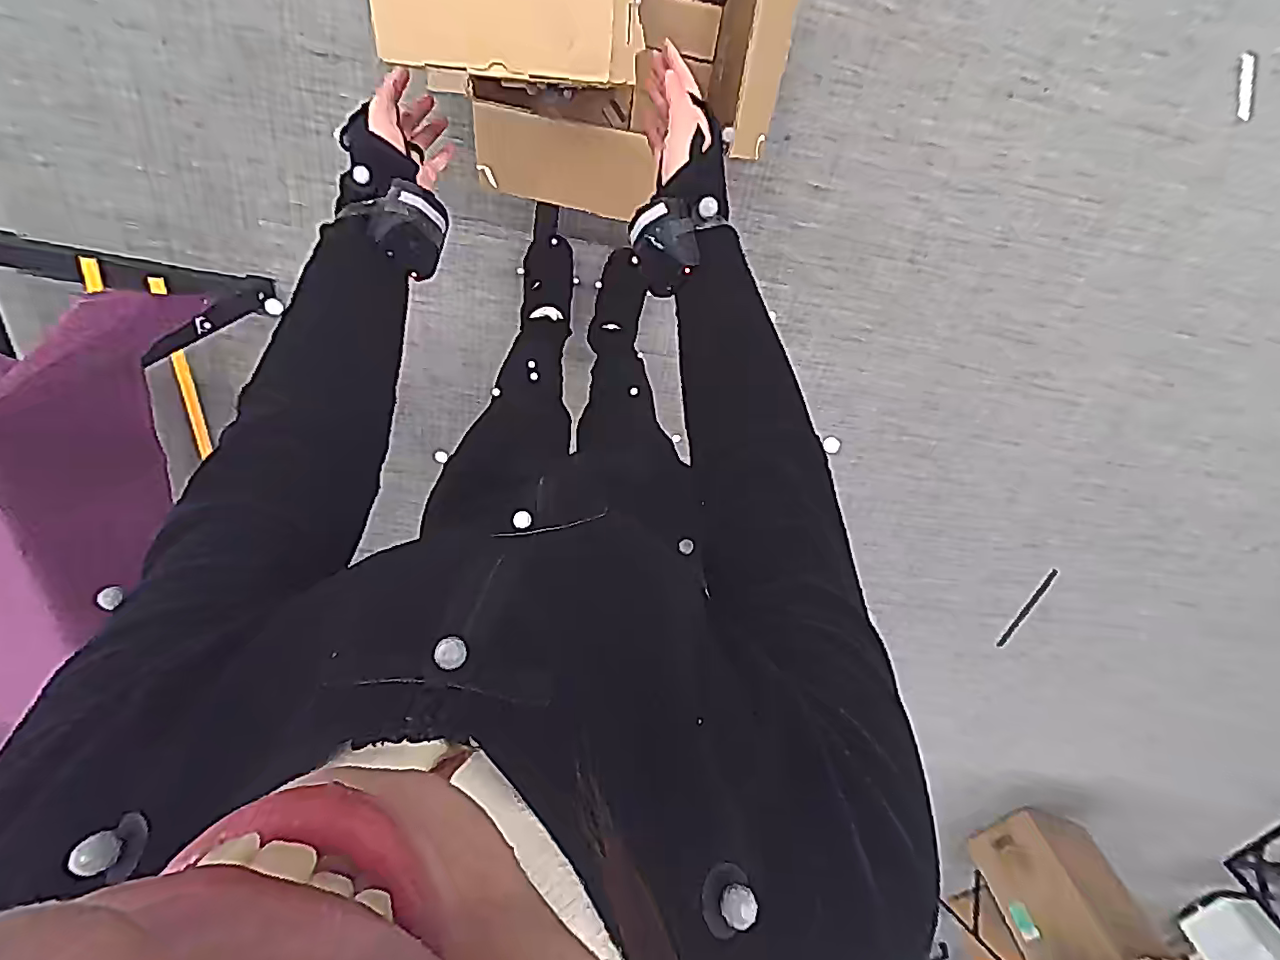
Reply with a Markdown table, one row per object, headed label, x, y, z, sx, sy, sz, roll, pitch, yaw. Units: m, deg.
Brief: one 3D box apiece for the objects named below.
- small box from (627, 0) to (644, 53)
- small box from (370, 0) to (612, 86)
| label | x | y | z | sx | sy | sz | roll | pitch | yaw |
| --- | --- | --- | --- | --- | --- | --- | --- | --- | --- |
| small box | -0.098 | -0.716 | 0.793 | 0.179 | 0.176 | 0.168 | -12 | 126 | 1 |
| small box | -0.102 | -0.412 | 0.404 | 0.168 | 0.176 | 0.179 | 1 | 126 | -8 |
